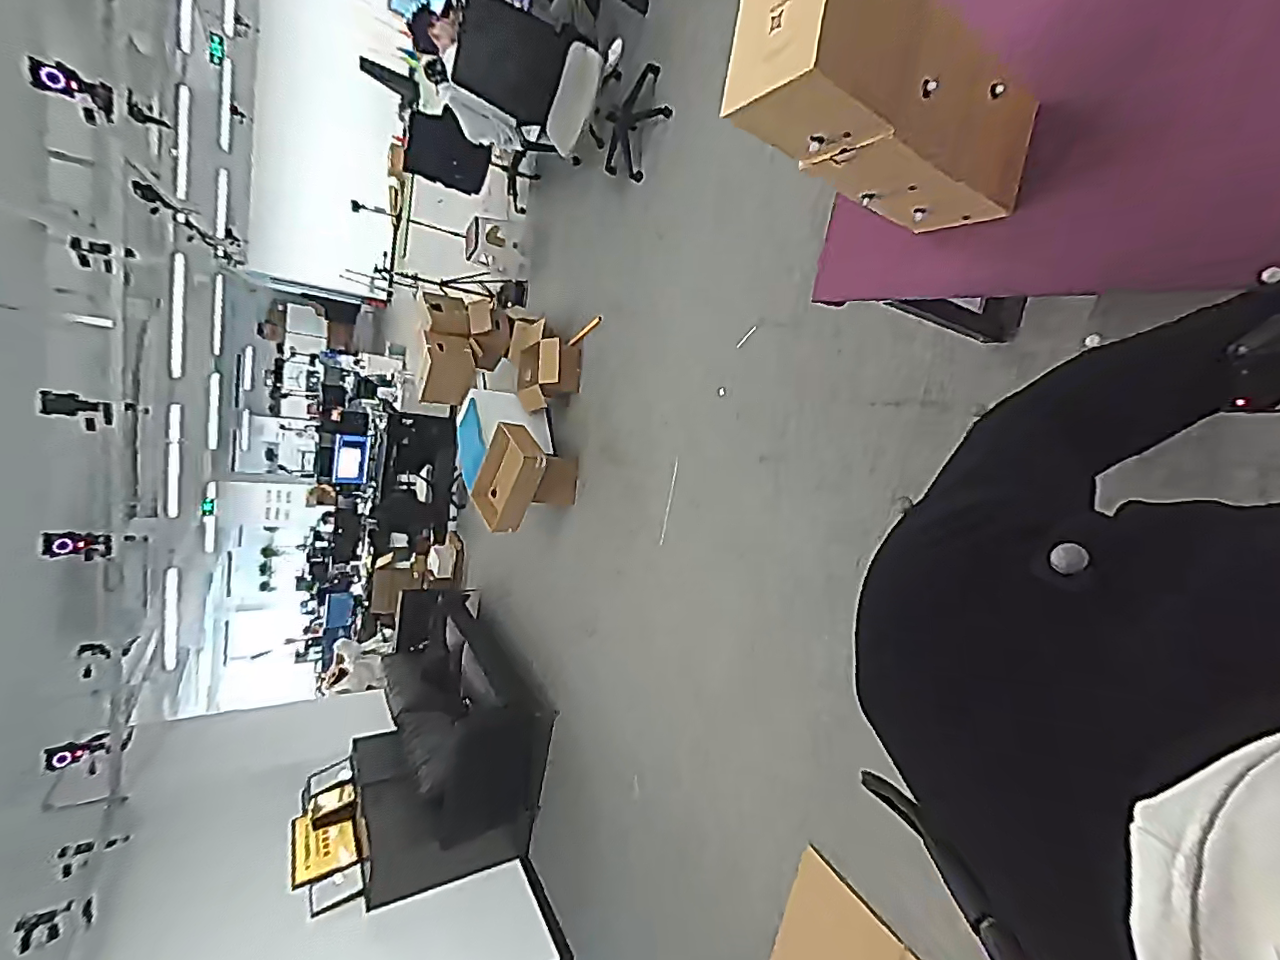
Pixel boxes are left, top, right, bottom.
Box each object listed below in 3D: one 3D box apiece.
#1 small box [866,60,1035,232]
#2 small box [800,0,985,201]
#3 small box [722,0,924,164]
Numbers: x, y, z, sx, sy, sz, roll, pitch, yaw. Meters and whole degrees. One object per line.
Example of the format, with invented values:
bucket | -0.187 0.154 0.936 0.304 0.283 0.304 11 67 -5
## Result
small box | 0.508 -0.525 0.888 0.168 0.176 0.179 21 103 56
small box | 0.371 -0.534 0.798 0.168 0.176 0.179 22 104 55
small box | 0.237 -0.553 0.705 0.168 0.176 0.179 23 105 56
